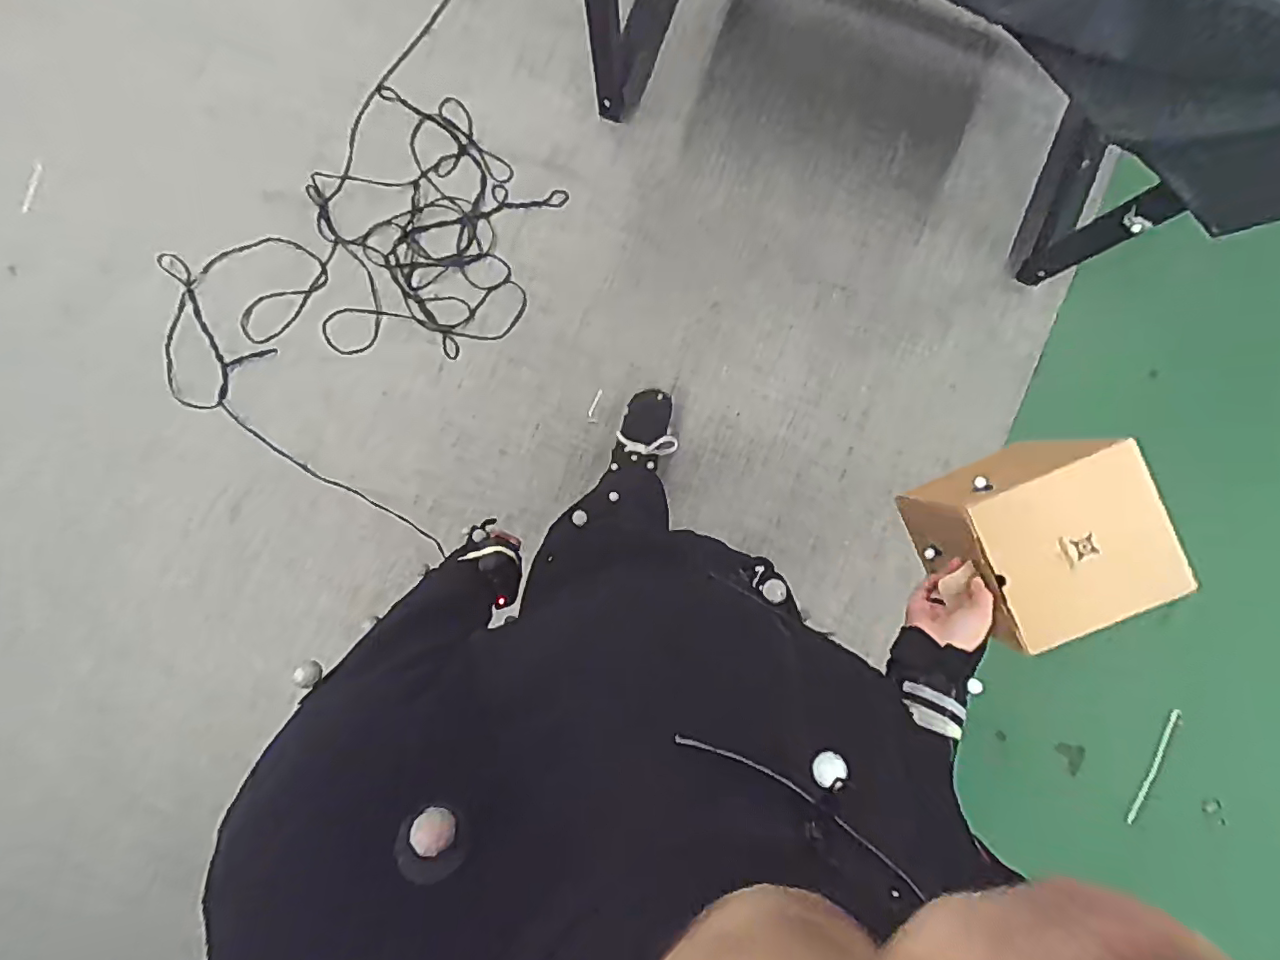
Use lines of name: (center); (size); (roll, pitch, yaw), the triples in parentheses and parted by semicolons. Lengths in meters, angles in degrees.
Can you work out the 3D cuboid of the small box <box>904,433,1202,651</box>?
small box: (0.438, 0.056, 0.605); (0.179, 0.176, 0.168); (-25, 92, 5)
